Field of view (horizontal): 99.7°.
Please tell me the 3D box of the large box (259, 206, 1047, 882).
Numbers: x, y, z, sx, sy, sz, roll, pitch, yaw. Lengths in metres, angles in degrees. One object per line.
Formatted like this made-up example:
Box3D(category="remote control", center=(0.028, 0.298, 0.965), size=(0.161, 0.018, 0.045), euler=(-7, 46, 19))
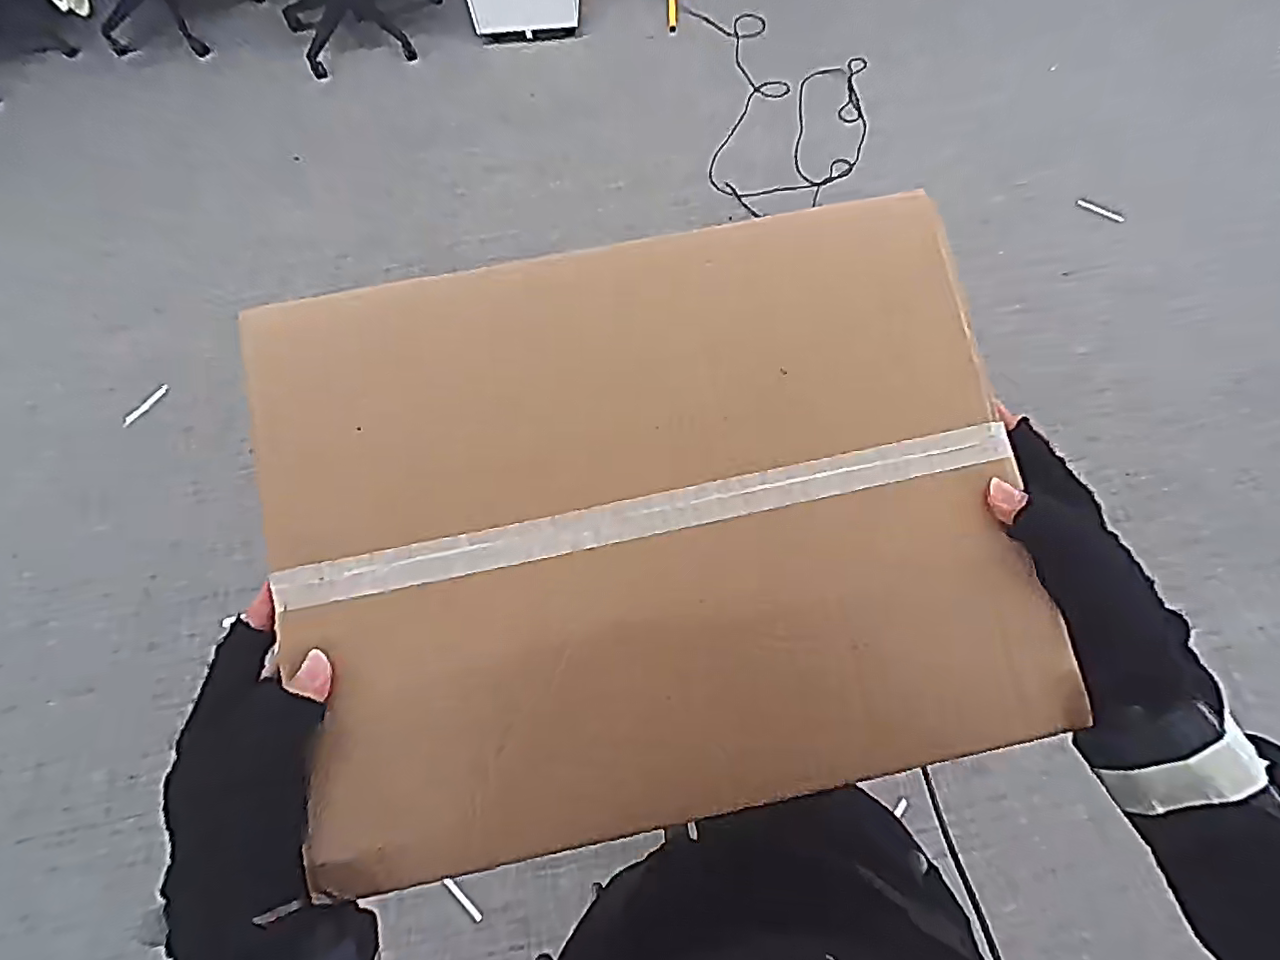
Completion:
Box3D(category="large box", center=(0.000, 0.036, 0.452), size=(0.408, 0.320, 0.320), euler=(-11, 82, -3))
